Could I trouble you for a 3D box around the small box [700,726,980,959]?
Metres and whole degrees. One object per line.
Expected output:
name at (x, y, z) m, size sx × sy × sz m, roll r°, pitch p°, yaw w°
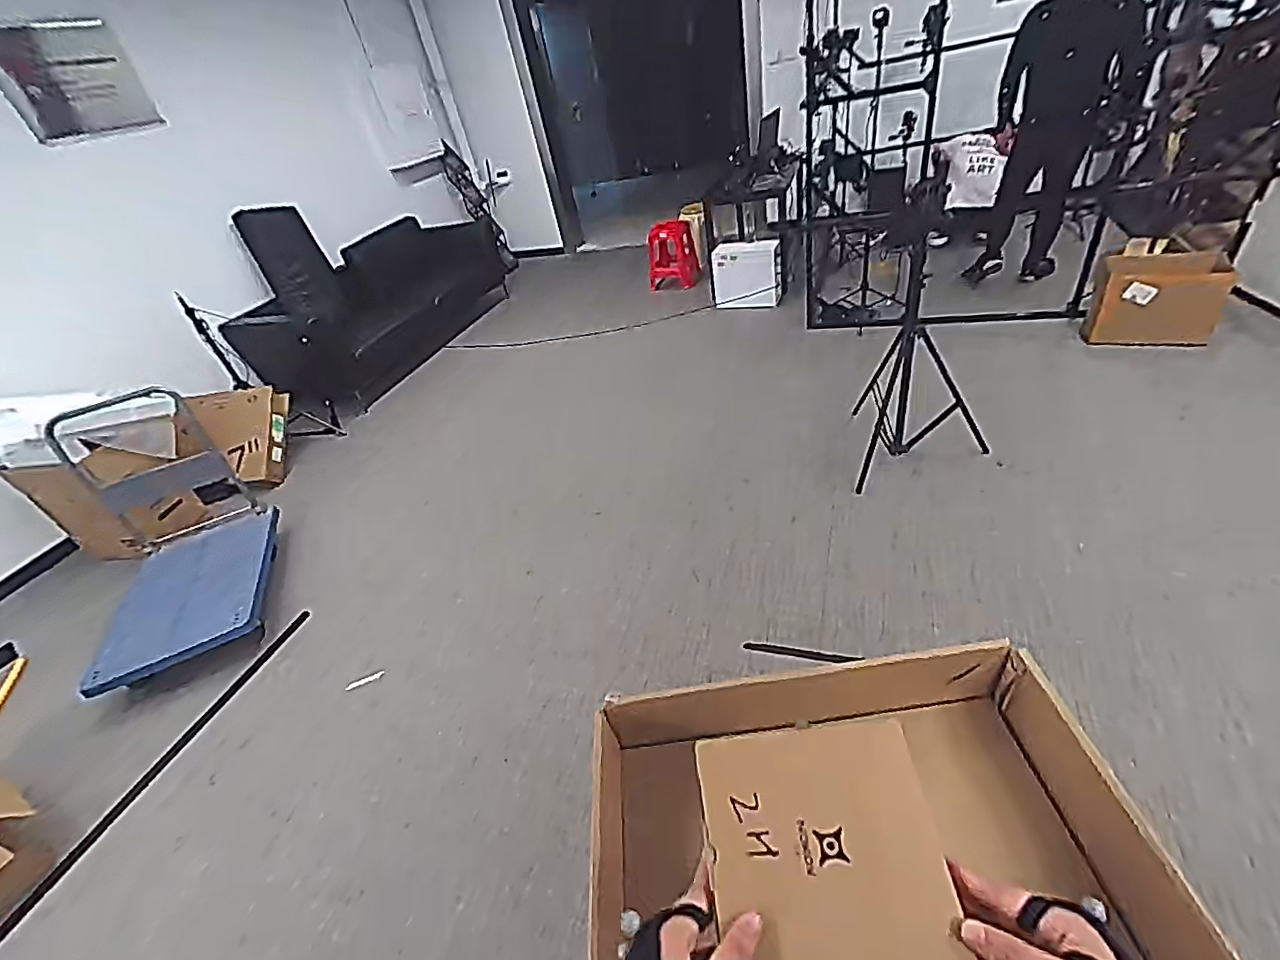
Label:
small box at (0.156, 0.329, 0.478) m, size 0.179 × 0.176 × 0.168 m, roll -10°, pitch 52°, yaw 8°
